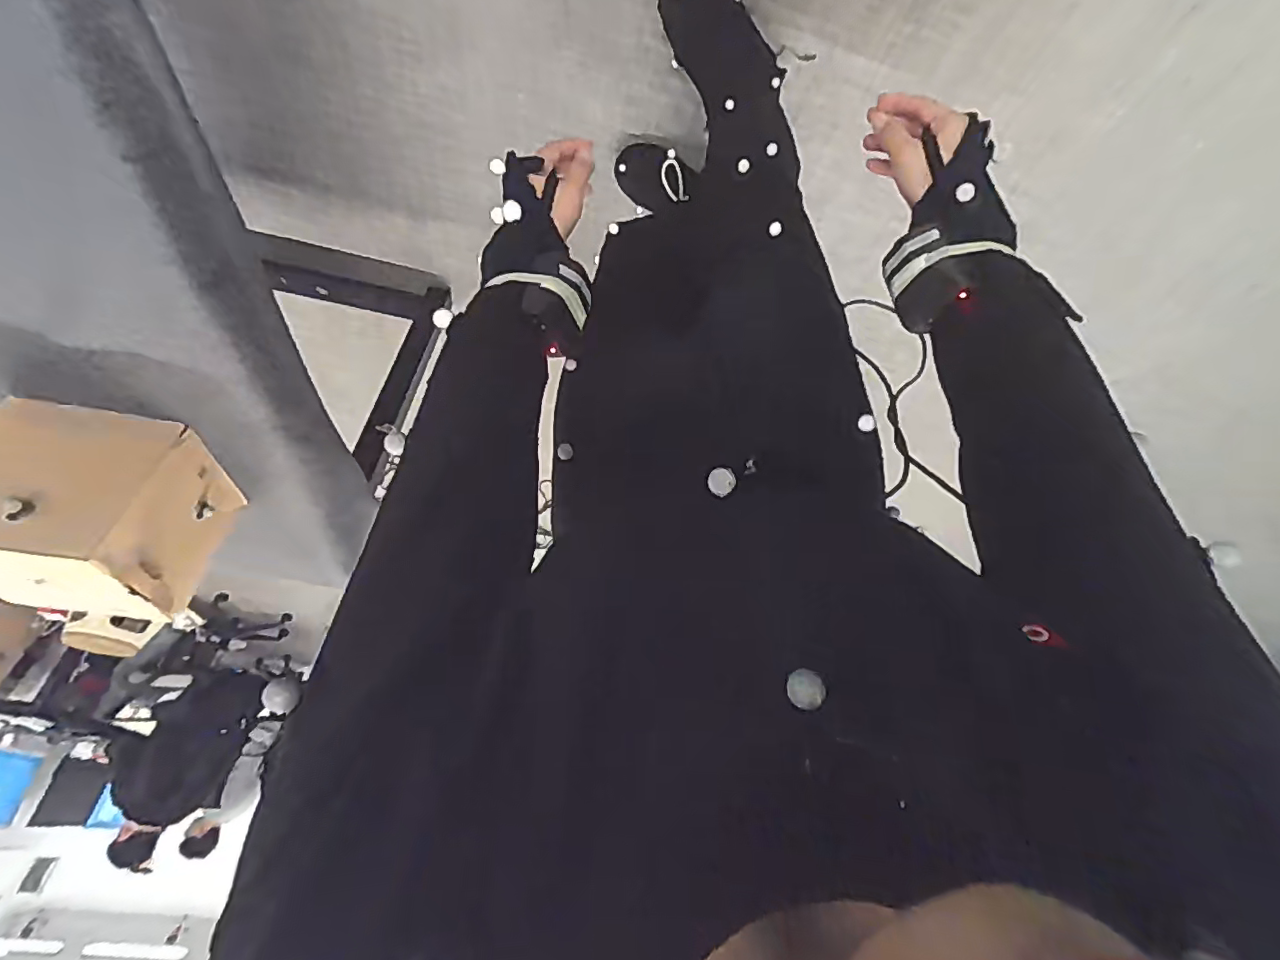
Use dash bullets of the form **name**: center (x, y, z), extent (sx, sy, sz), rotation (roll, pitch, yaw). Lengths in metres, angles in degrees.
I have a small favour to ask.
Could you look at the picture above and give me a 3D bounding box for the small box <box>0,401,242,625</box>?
- **small box**: center (-0.585, 0.036, 0.581), extent (0.179, 0.176, 0.168), rotation (9, 144, -7)
